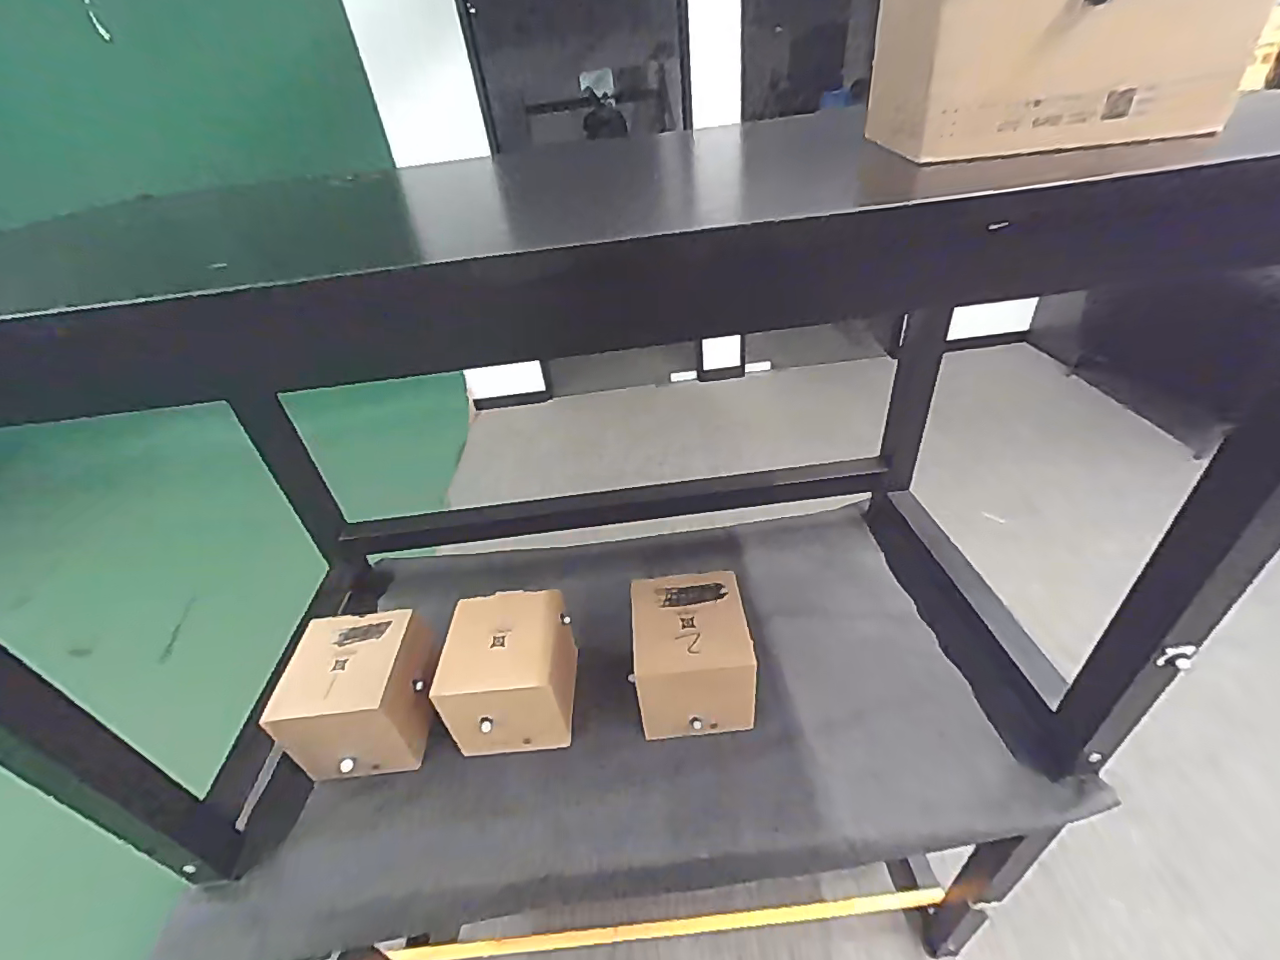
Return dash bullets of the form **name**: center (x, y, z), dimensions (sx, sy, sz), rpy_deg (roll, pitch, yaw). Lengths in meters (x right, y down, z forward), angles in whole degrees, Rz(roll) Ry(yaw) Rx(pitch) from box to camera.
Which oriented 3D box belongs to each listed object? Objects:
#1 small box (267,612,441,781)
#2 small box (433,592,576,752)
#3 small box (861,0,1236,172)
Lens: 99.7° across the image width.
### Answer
- **small box**: center (-0.422, 0.334, 0.842), dimensions (0.168, 0.176, 0.179), rpy_deg (-7, 36, 0)
- **small box**: center (-0.197, 0.304, 0.848), dimensions (0.168, 0.176, 0.179), rpy_deg (-6, 35, 1)
- **small box**: center (0.256, -0.313, 0.362), dimensions (0.168, 0.176, 0.179), rpy_deg (0, 36, 10)
